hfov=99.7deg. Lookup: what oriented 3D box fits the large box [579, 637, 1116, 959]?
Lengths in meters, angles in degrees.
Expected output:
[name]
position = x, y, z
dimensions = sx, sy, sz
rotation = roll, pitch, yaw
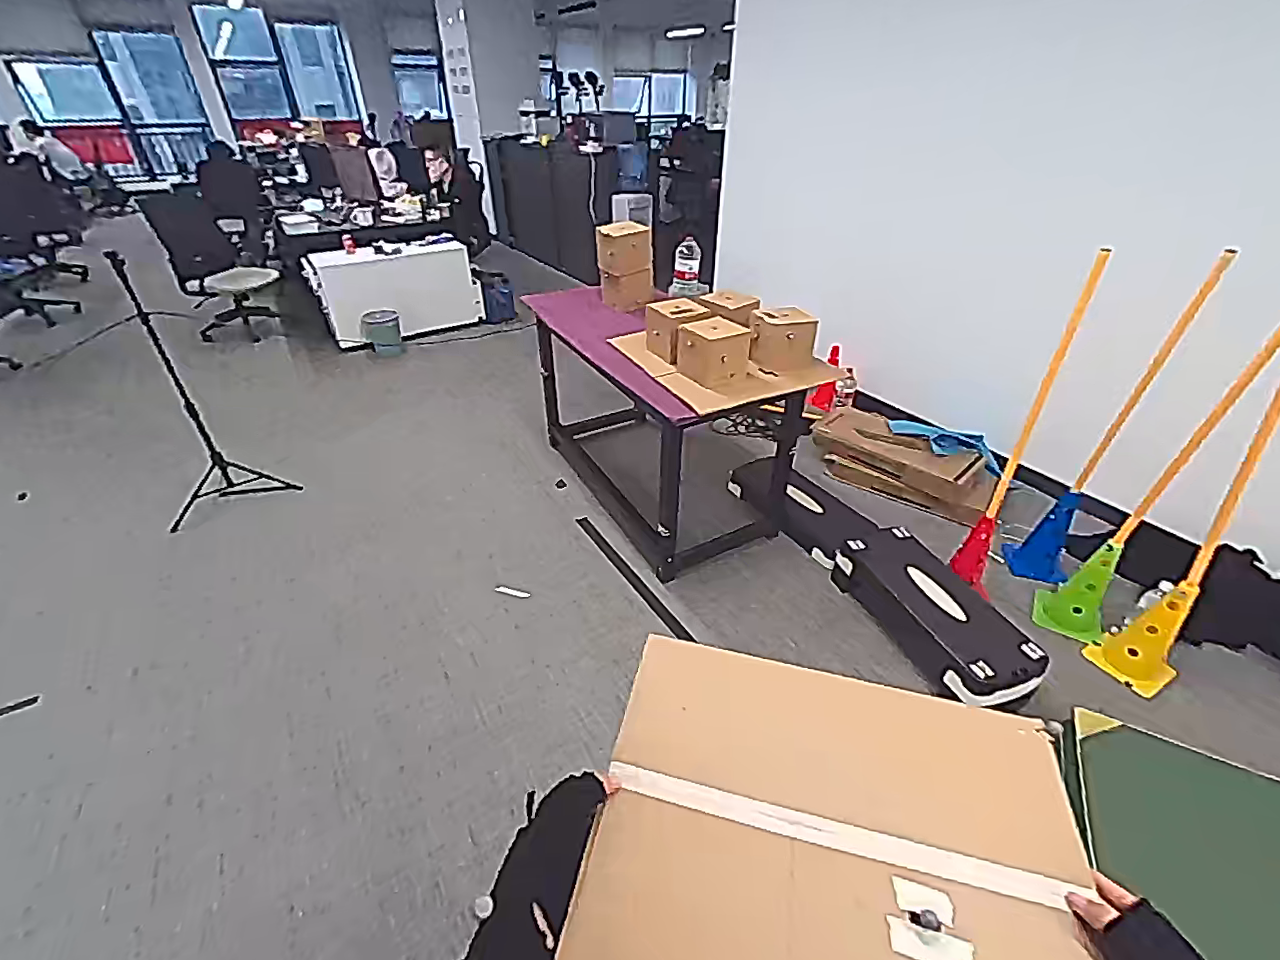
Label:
[large box]
position = 0.177, 0.419, 0.573
dimensions = 0.408, 0.320, 0.320
rotation = 10, 42, 11
